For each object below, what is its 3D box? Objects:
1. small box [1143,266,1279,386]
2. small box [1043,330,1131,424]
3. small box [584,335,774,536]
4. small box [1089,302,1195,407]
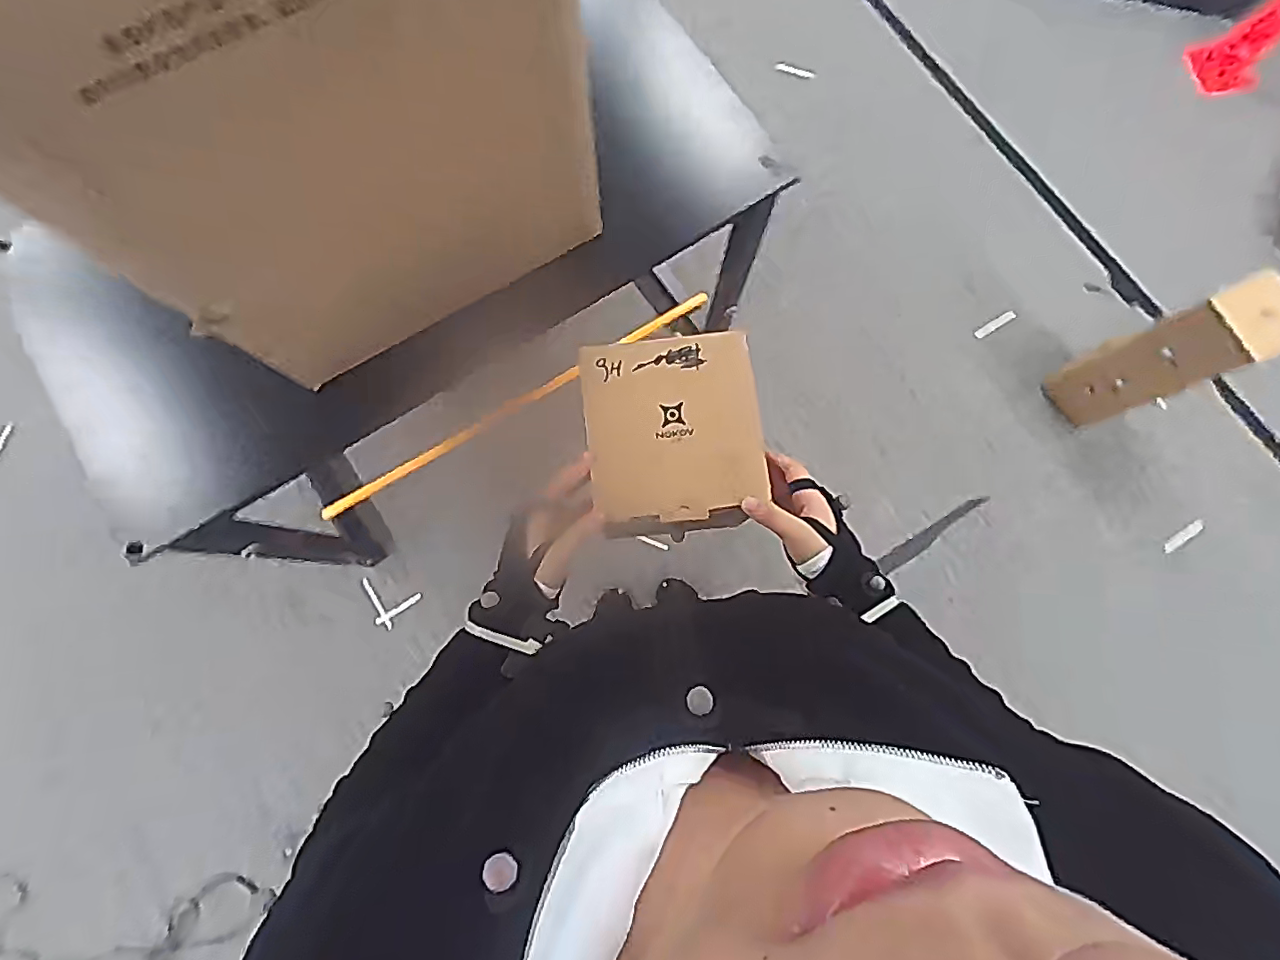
[{"bbox_3d":[1.320,-0.341,1.222,0.179,0.176,0.168,-27,80,-5],"label":"small box"},{"bbox_3d":[1.318,-0.286,1.545,0.168,0.176,0.179,-36,82,-7],"label":"small box"},{"bbox_3d":[0.035,-0.034,0.579,0.168,0.176,0.179,-5,80,-1],"label":"small box"},{"bbox_3d":[1.324,-0.314,1.383,0.179,0.176,0.168,-32,81,-6],"label":"small box"}]
